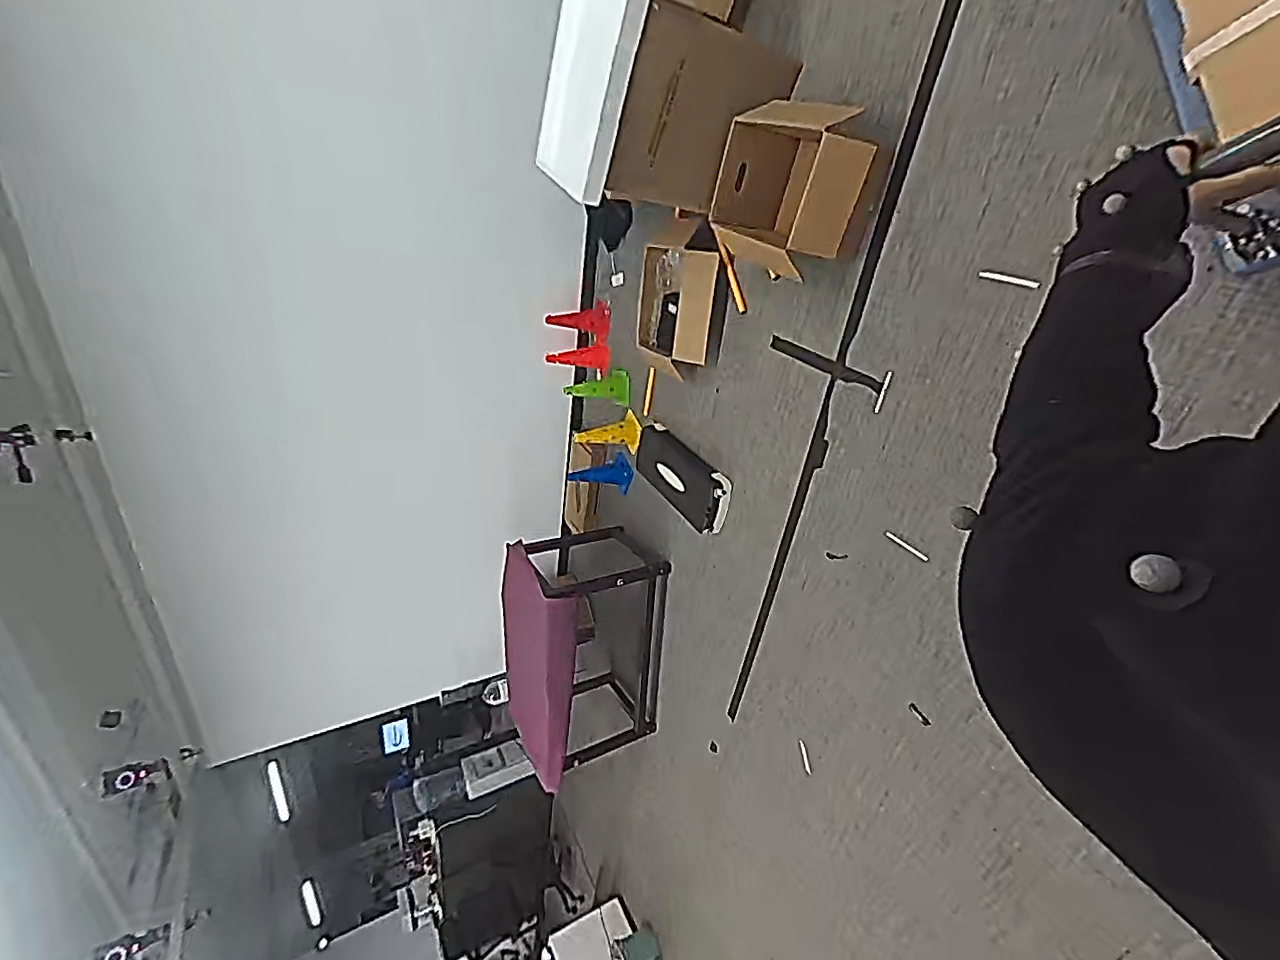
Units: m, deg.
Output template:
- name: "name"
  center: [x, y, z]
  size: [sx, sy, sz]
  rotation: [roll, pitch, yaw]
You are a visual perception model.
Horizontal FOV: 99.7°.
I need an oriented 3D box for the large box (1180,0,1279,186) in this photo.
- name: "large box"
  center: [0.968, -0.618, 0.627]
  size: [0.408, 0.320, 0.320]
  rotation: [-19, 81, 59]
